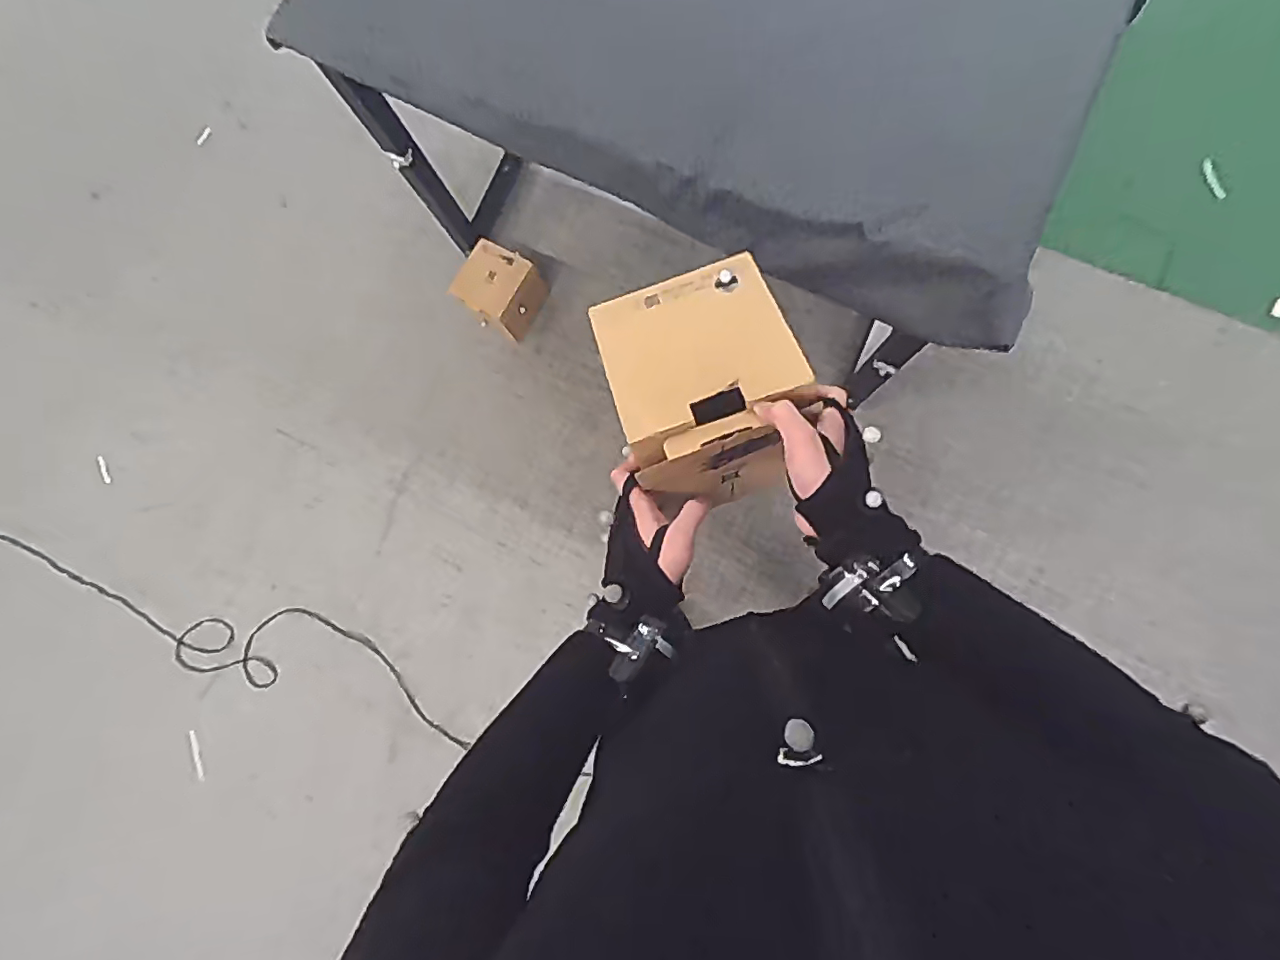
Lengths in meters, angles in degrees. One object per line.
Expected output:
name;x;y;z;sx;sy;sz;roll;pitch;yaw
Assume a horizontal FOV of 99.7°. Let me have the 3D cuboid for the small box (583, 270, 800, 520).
small box;0.052;-0.087;0.554;0.168;0.179;0.176;-18;61;5
